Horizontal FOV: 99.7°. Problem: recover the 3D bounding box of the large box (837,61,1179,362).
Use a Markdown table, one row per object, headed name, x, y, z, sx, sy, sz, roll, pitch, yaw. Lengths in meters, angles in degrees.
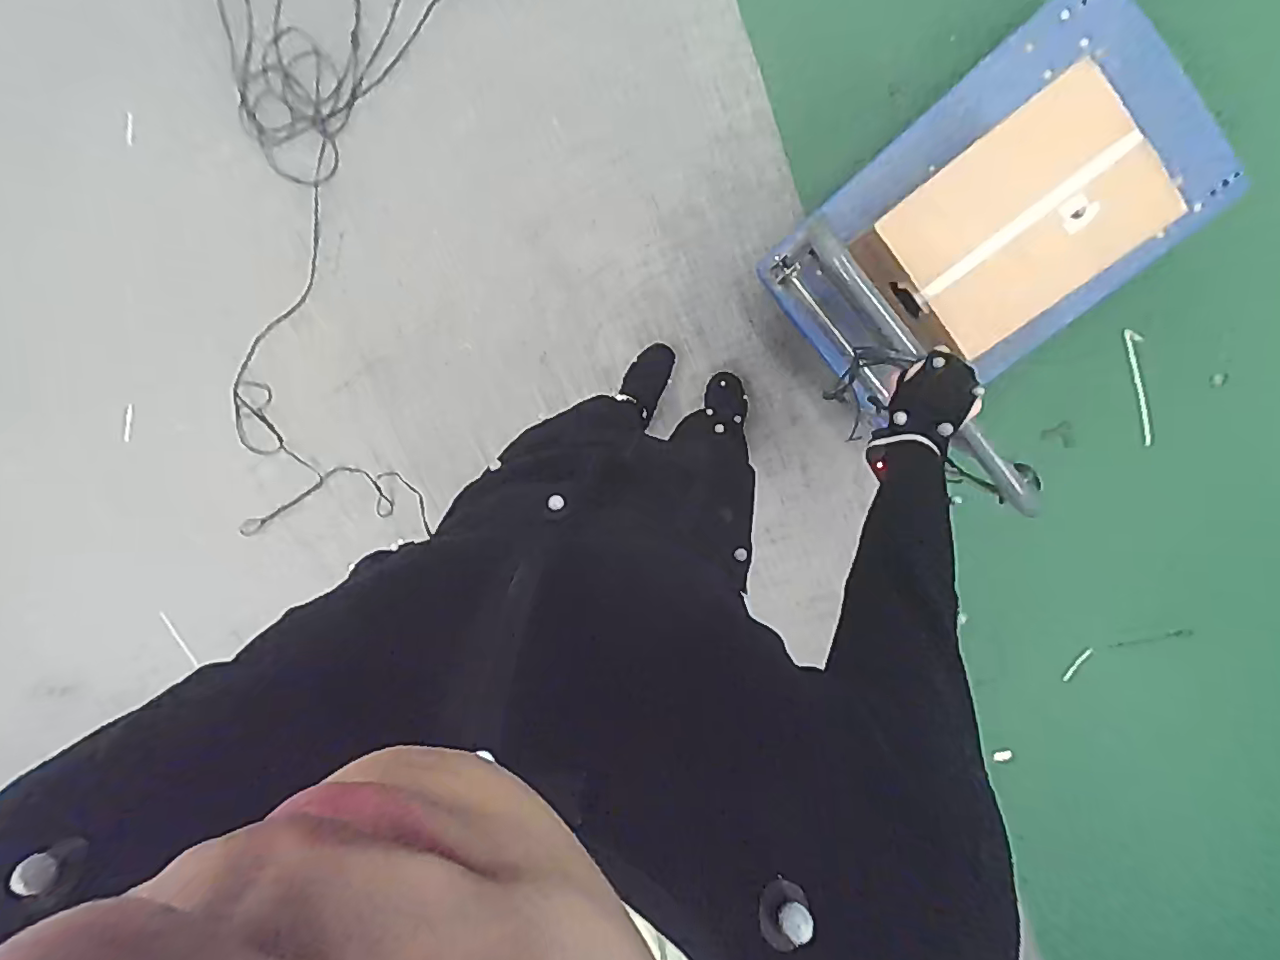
| name | x | y | z | sx | sy | sz | roll | pitch | yaw |
| --- | --- | --- | --- | --- | --- | --- | --- | --- | --- |
| large box | 0.679 | -0.479 | 1.080 | 0.408 | 0.320 | 0.320 | -37 | 97 | 13 |
